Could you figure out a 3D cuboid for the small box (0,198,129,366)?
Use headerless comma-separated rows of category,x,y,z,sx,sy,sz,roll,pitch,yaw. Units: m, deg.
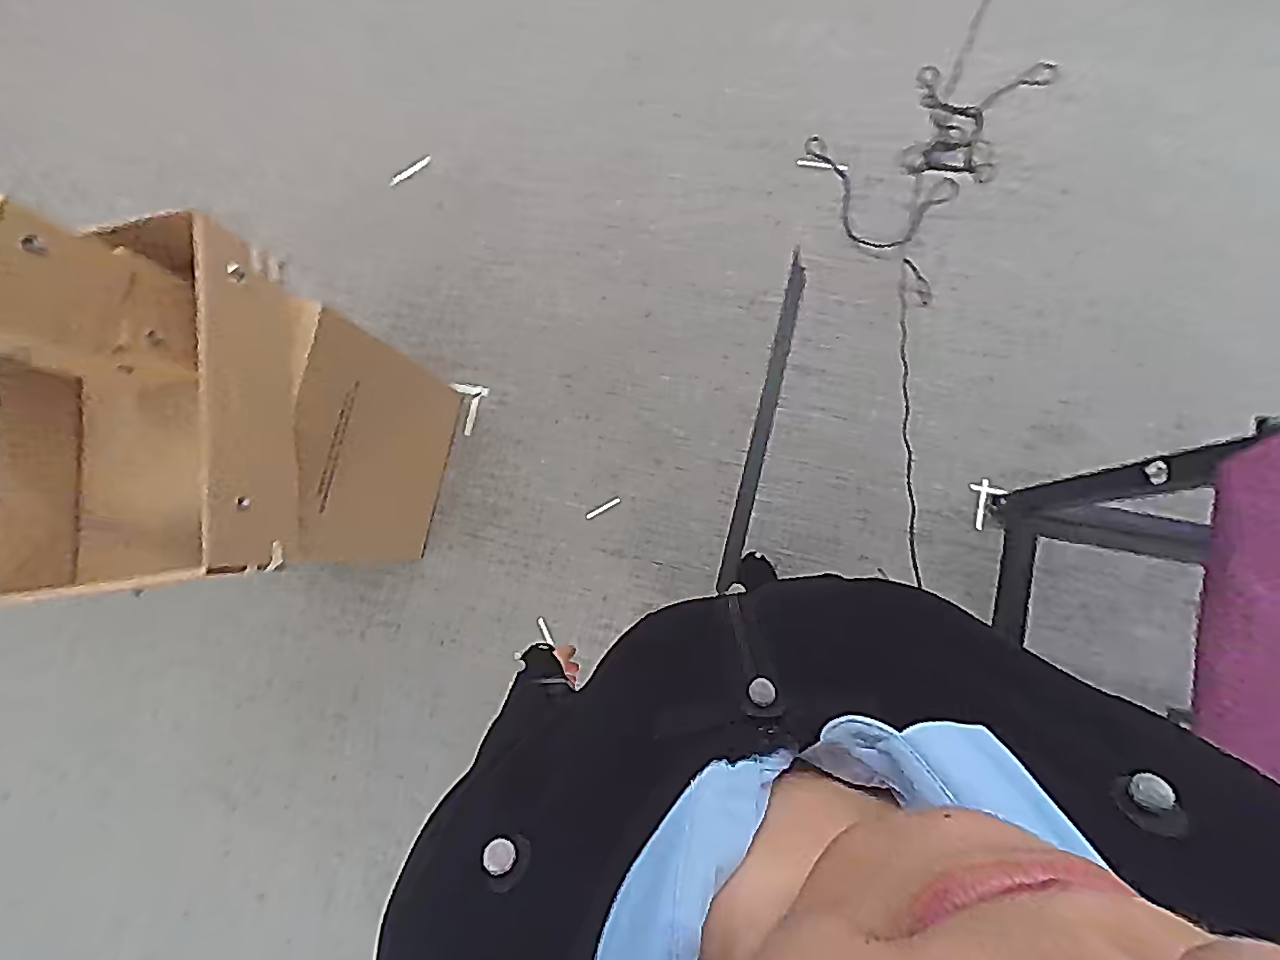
small box,-0.903,-0.280,0.782,0.168,0.176,0.179,4,84,7
